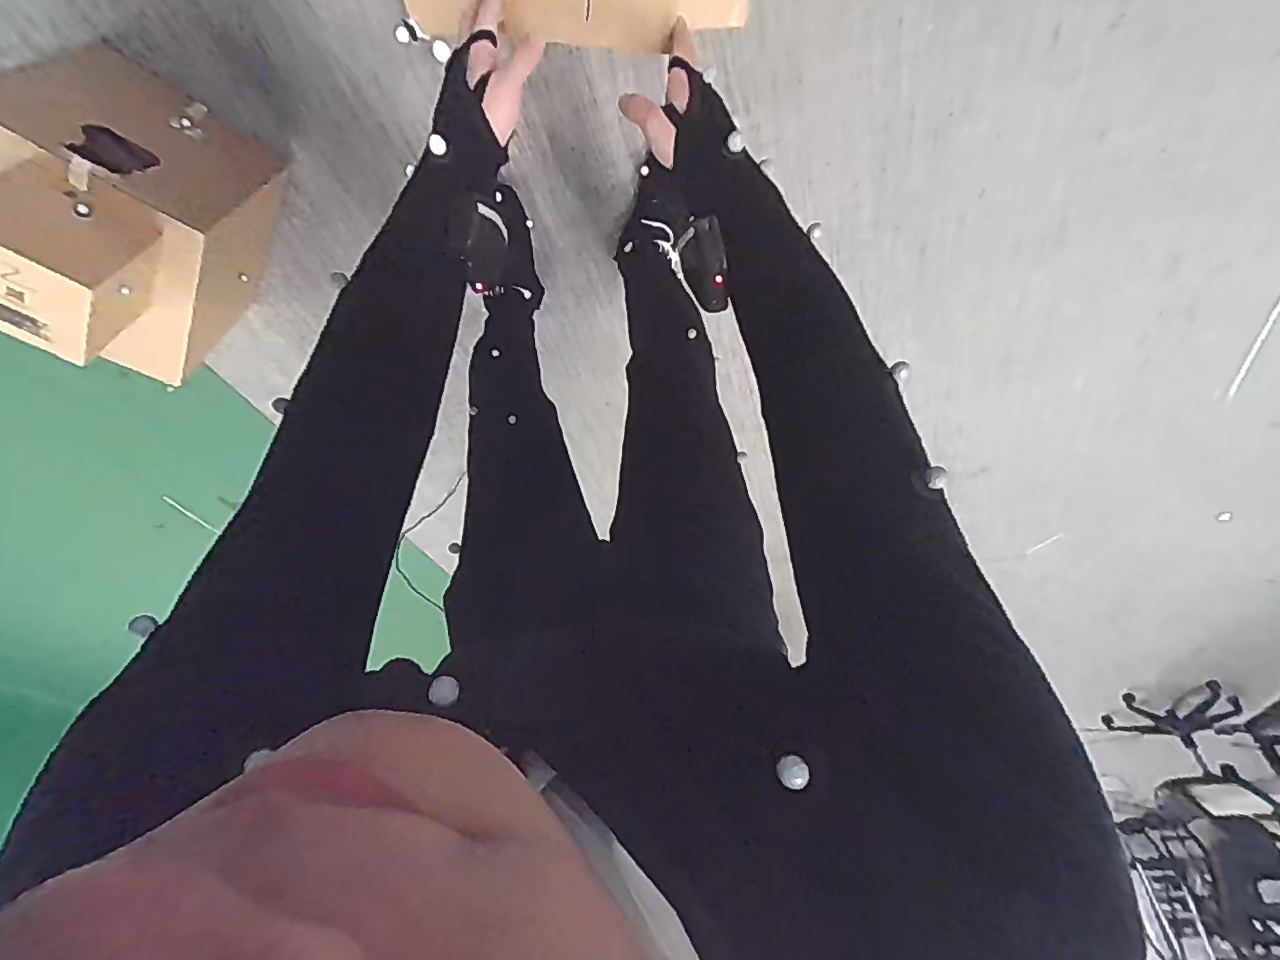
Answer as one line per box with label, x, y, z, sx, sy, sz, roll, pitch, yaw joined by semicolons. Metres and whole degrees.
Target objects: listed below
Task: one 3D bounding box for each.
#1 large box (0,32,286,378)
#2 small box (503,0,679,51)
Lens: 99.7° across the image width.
large box;-0.913;-0.478;0.992;0.320;0.320;0.408;29;134;-27
small box;-0.040;-0.543;0.512;0.168;0.176;0.179;4;140;-3
